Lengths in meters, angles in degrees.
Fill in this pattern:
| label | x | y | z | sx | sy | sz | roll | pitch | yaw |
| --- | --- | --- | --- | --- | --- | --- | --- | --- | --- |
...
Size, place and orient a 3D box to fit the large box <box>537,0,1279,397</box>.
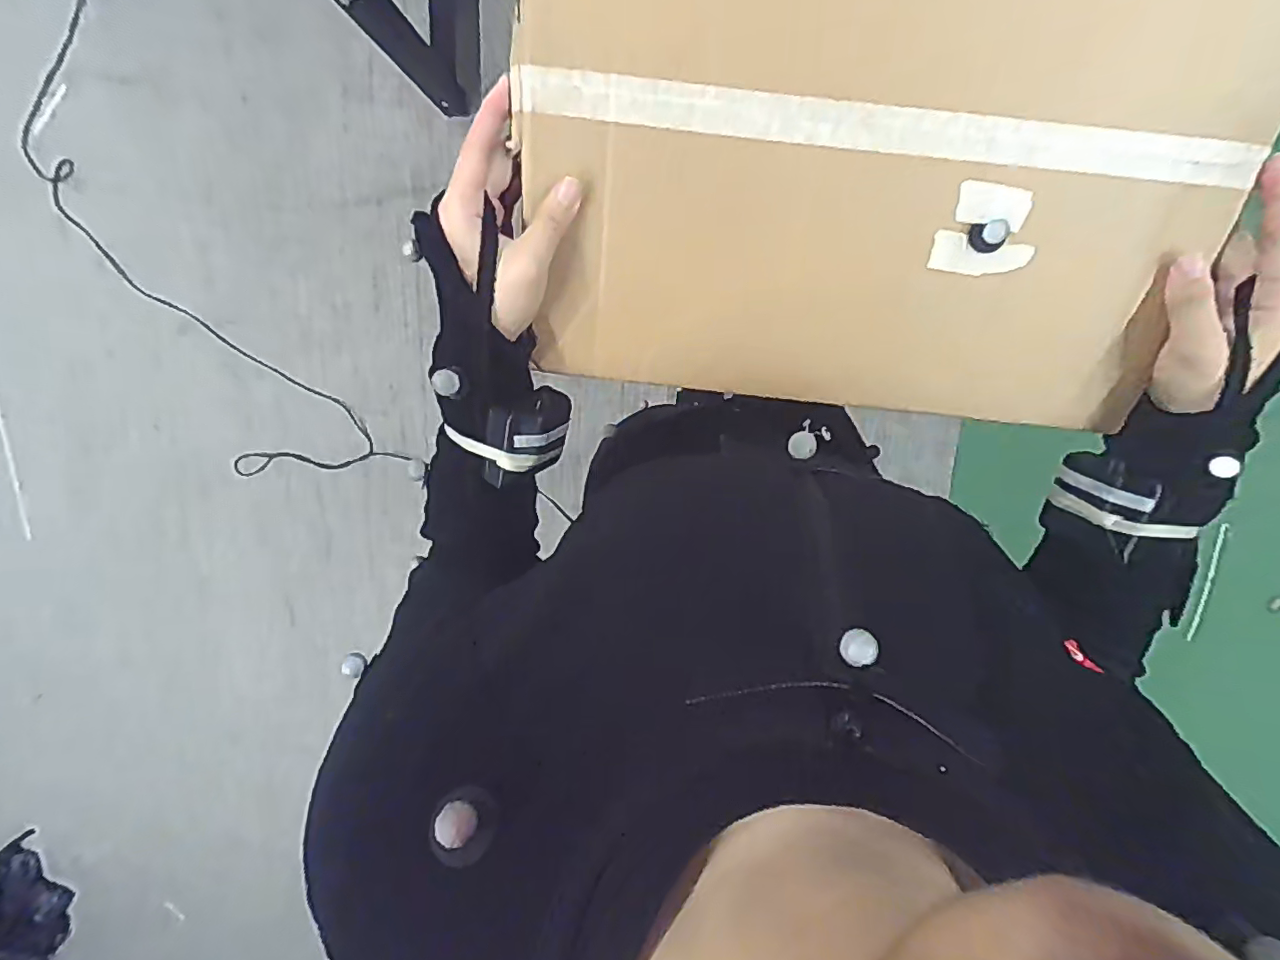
| label | x | y | z | sx | sy | sz | roll | pitch | yaw |
| --- | --- | --- | --- | --- | --- | --- | --- | --- | --- |
| large box | 0.142 | -0.274 | 0.433 | 0.408 | 0.320 | 0.320 | 5 | 118 | -2 |
